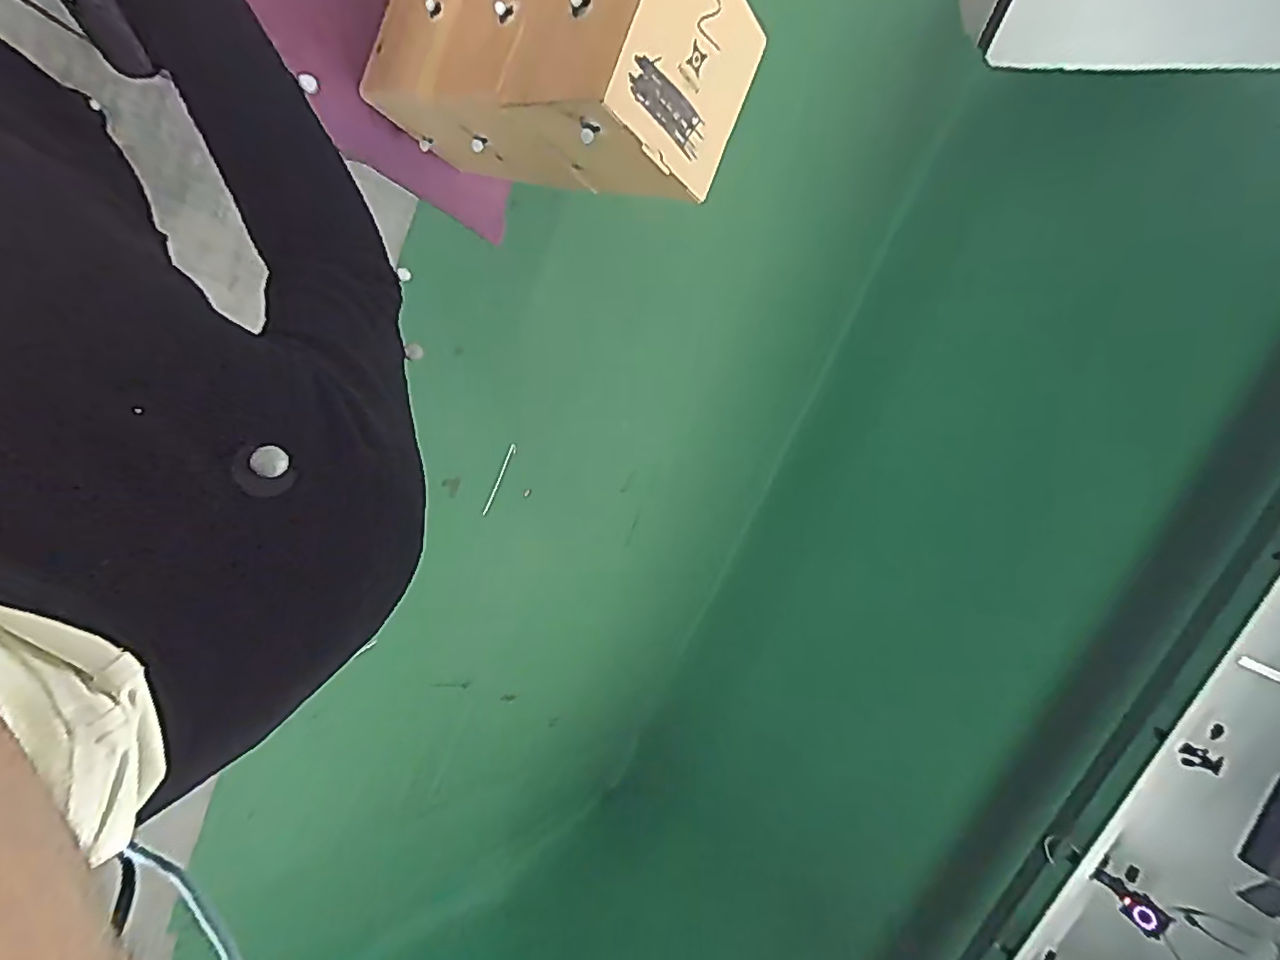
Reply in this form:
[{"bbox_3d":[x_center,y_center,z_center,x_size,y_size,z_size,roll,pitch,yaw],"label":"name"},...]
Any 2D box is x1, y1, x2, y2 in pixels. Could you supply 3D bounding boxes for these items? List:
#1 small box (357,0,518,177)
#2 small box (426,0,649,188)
[{"bbox_3d":[-0.245,-0.554,0.740,0.179,0.176,0.168,16,101,-55],"label":"small box"},{"bbox_3d":[-0.126,-0.489,0.649,0.168,0.176,0.179,17,101,-53],"label":"small box"}]
